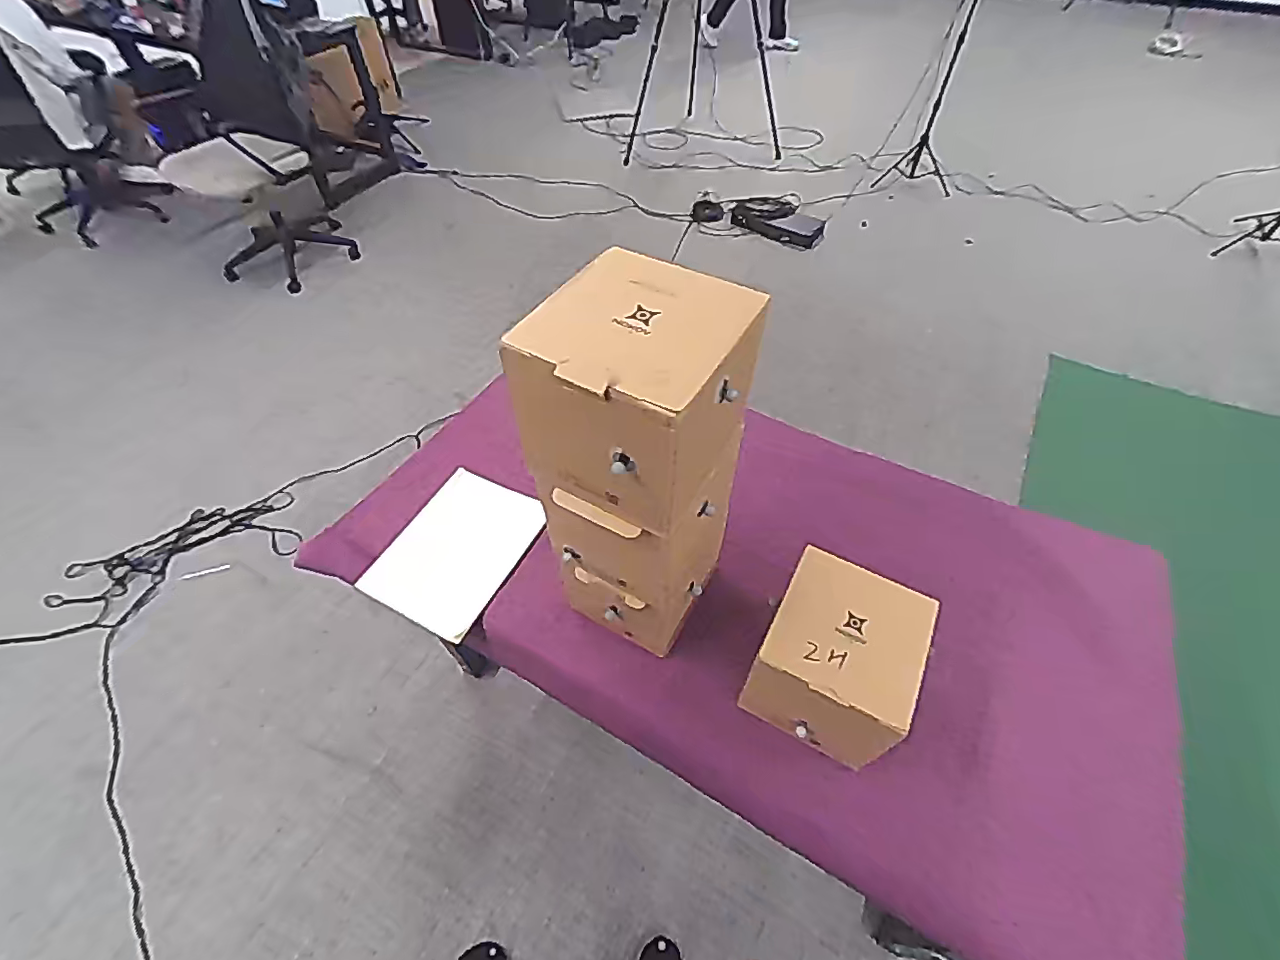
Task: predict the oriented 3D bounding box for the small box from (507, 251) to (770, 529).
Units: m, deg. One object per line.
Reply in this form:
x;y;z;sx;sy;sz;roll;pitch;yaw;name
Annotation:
0.004;-0.083;0.519;0.168;0.176;0.179;26;56;19;small box

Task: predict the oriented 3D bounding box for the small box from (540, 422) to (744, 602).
0.007;0.014;0.649;0.168;0.176;0.179;25;55;19;small box

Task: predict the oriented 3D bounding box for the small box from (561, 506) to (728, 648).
0.011;0.112;0.782;0.168;0.176;0.179;25;57;18;small box
